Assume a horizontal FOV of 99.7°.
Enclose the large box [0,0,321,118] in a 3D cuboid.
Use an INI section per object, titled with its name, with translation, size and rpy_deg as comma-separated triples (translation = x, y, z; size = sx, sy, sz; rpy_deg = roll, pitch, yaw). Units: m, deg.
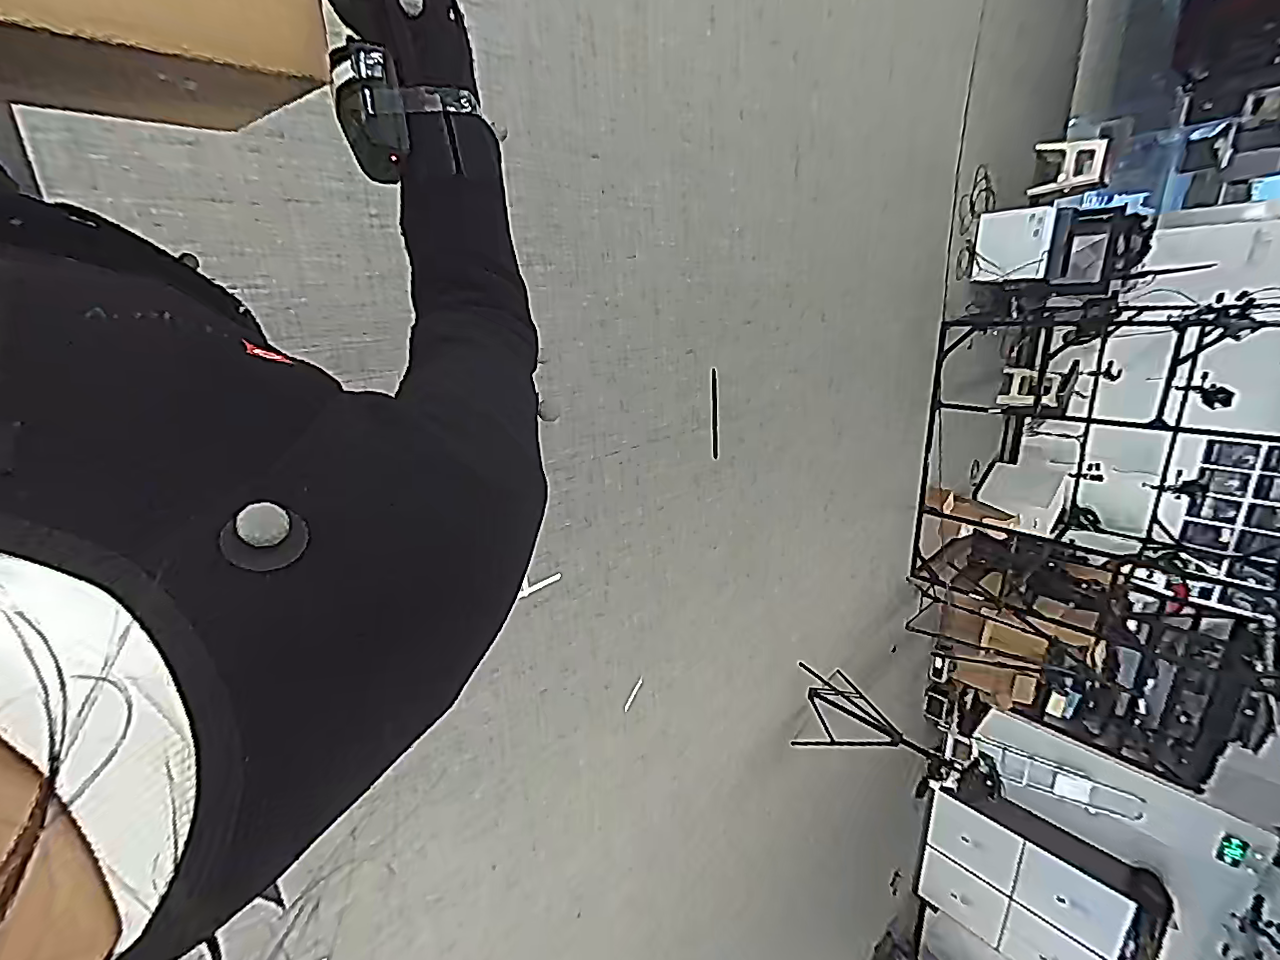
[large box]
translation = -0.440, -0.385, 0.244
size = 0.408, 0.320, 0.320
rpy_deg = -21, 125, -40
